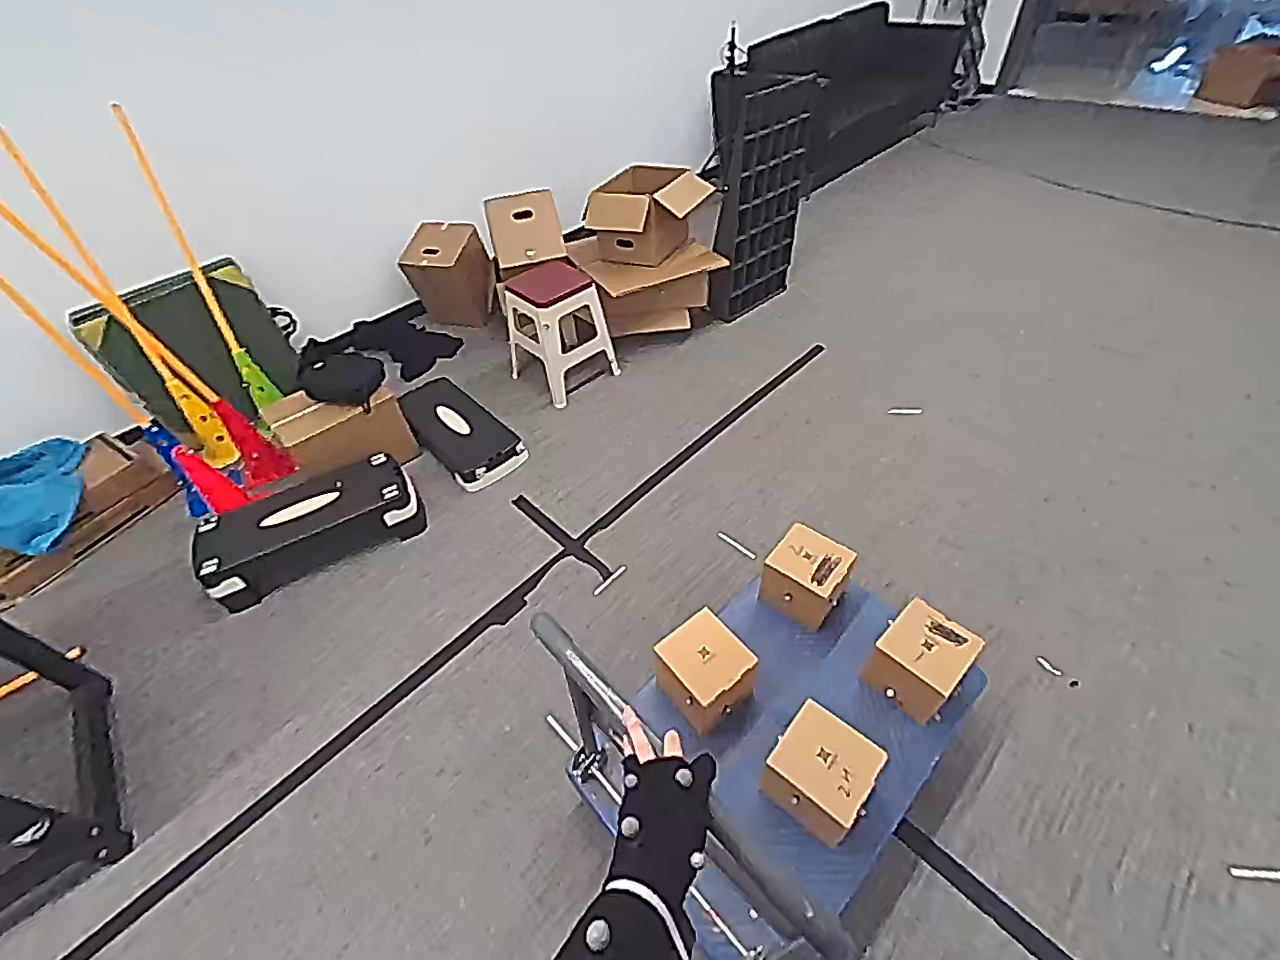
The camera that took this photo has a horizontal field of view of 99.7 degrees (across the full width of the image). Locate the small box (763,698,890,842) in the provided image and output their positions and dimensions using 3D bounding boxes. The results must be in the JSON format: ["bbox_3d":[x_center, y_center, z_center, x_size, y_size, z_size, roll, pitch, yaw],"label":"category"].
[{"bbox_3d":[0.367,0.589,1.094,0.179,0.176,0.168,31,56,30],"label":"small box"}]

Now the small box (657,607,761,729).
[{"bbox_3d":[0.153,0.440,1.259,0.168,0.176,0.179,-31,53,-24],"label":"small box"}]

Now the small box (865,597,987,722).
[{"bbox_3d":[0.645,0.412,1.239,0.179,0.176,0.168,-36,53,-25],"label":"small box"}]
